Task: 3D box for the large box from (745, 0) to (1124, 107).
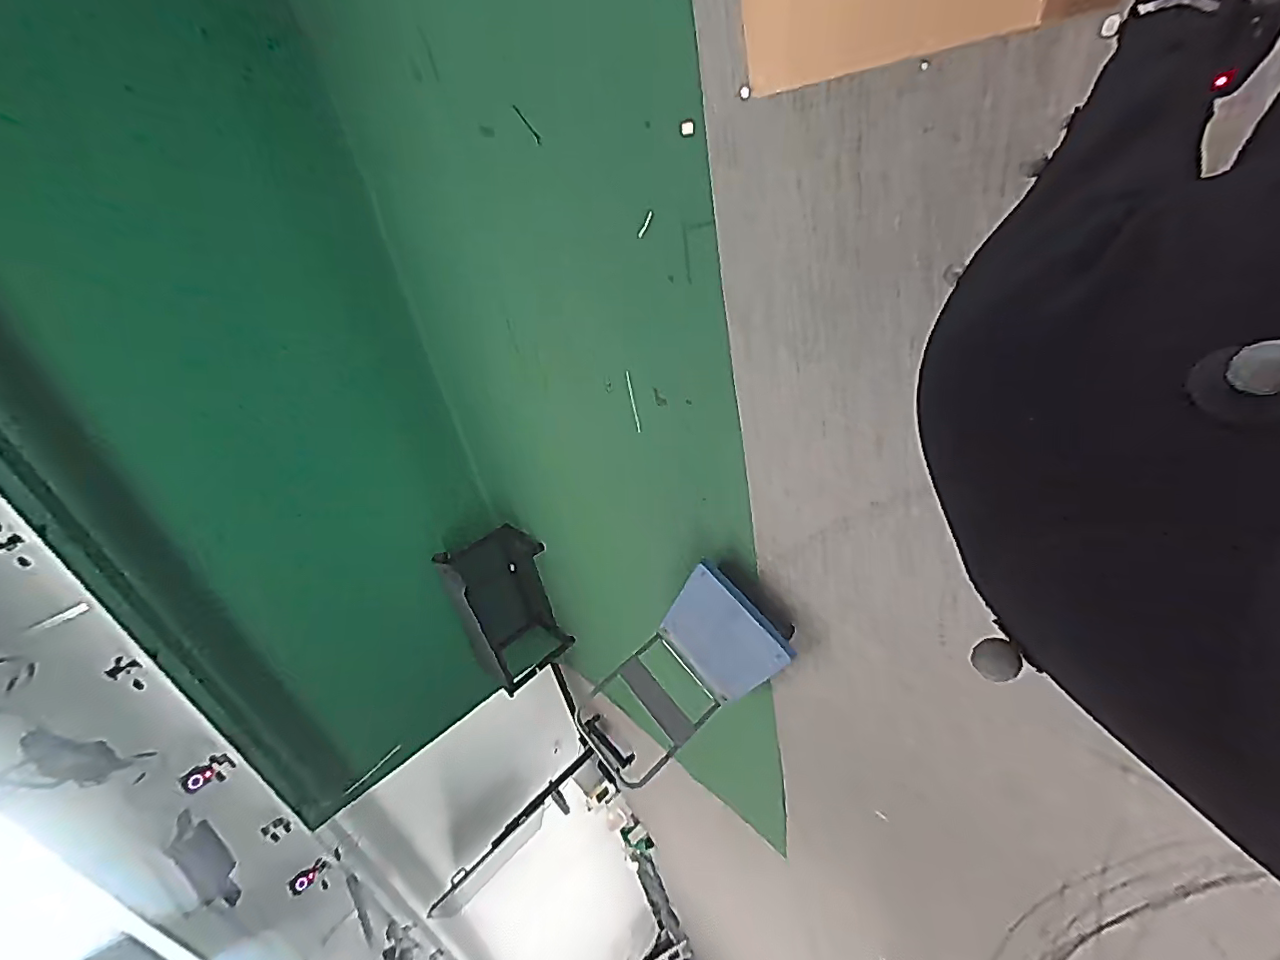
[{"bbox_3d":[0.395,-0.753,0.732,0.408,0.320,0.320,25,138,45],"label":"large box"}]
